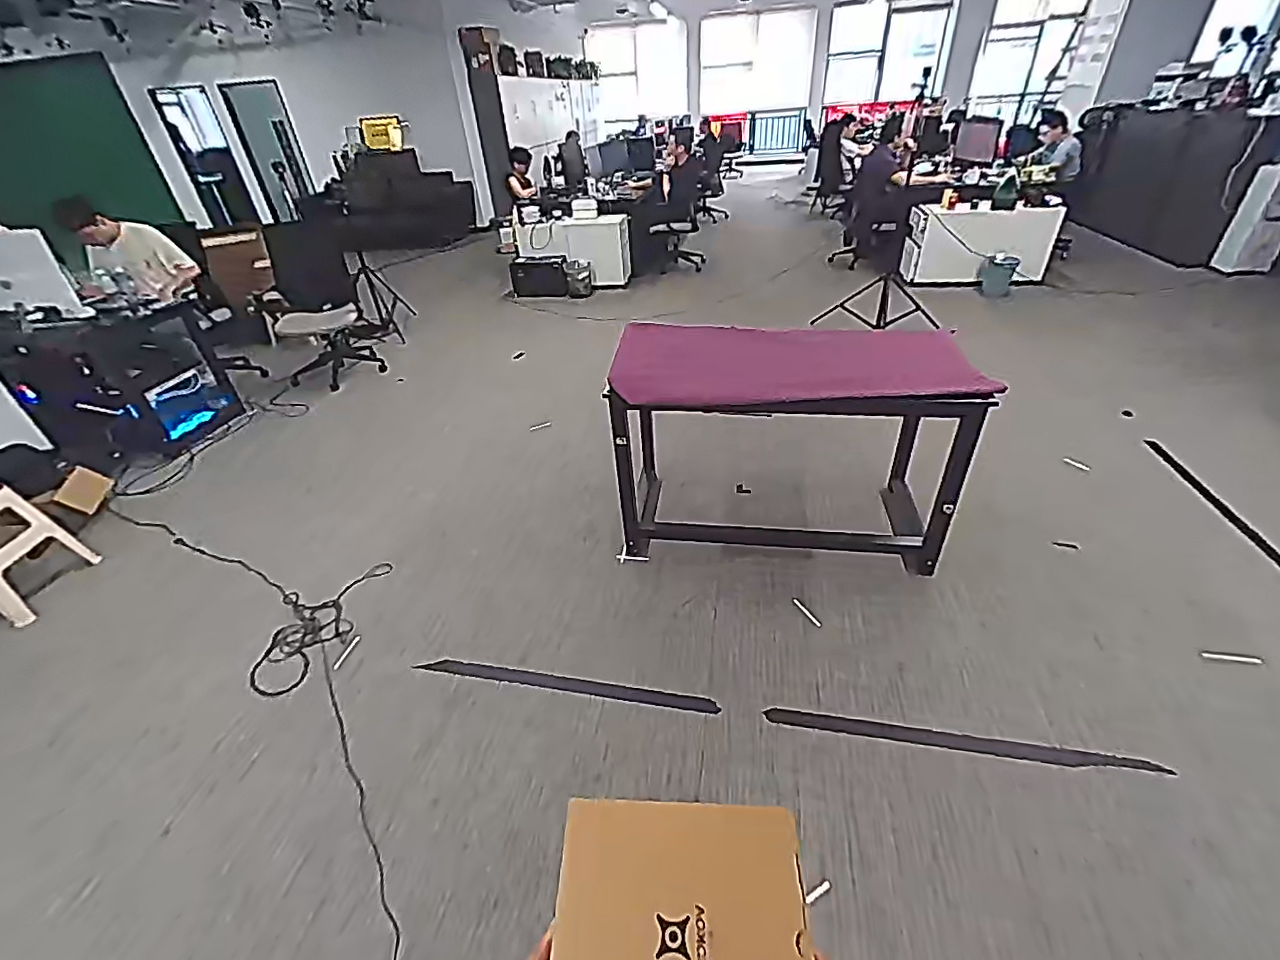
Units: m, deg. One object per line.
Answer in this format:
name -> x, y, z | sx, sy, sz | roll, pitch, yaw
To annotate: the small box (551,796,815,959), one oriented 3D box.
small box -> 0.032, 0.363, 0.417 | 0.179, 0.176, 0.168 | 0, 44, 3
